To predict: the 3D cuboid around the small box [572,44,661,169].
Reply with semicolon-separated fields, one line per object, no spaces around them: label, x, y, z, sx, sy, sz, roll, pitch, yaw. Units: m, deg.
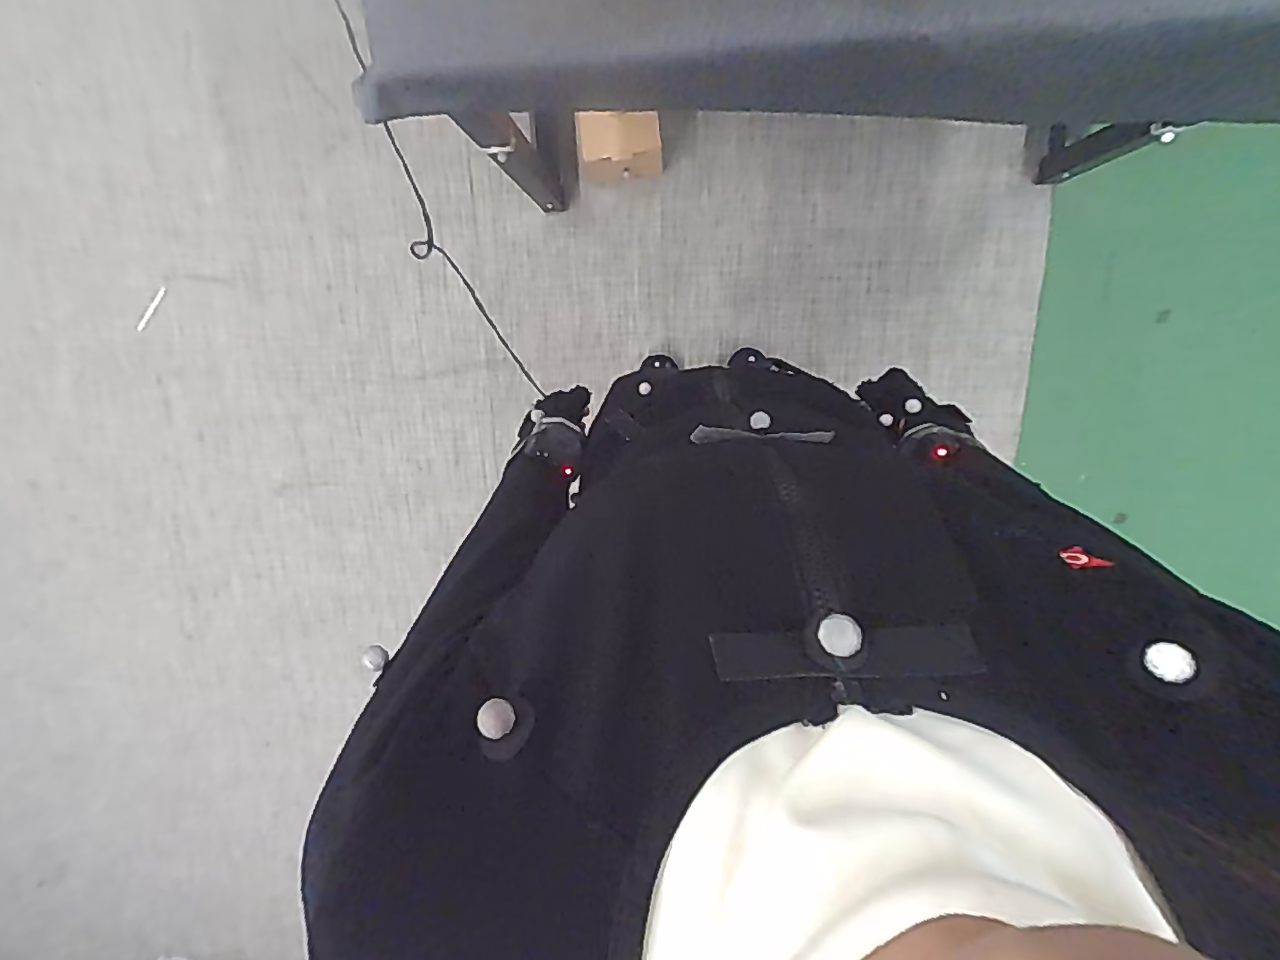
small box;-0.043;-0.792;1.170;0.168;0.176;0.179;-5;105;4
